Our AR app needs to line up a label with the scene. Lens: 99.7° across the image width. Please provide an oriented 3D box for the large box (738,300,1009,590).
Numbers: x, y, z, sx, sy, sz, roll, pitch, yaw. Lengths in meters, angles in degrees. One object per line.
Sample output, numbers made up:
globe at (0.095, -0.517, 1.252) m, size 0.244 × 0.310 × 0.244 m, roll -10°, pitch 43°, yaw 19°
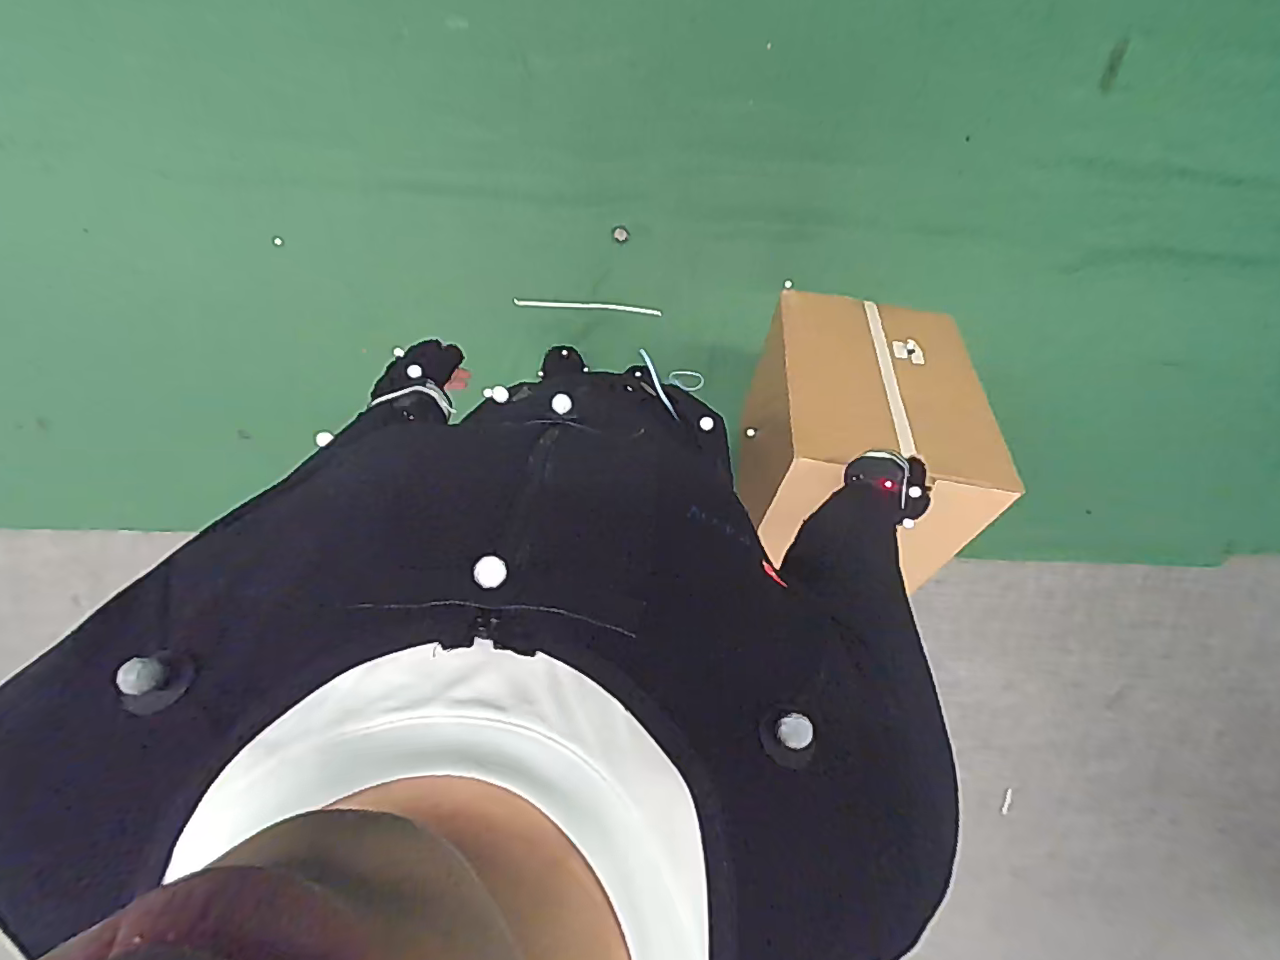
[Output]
large box at (0.363, -0.061, 0.976) m, size 0.320 × 0.408 × 0.320 m, roll 10°, pitch 140°, yaw -1°
